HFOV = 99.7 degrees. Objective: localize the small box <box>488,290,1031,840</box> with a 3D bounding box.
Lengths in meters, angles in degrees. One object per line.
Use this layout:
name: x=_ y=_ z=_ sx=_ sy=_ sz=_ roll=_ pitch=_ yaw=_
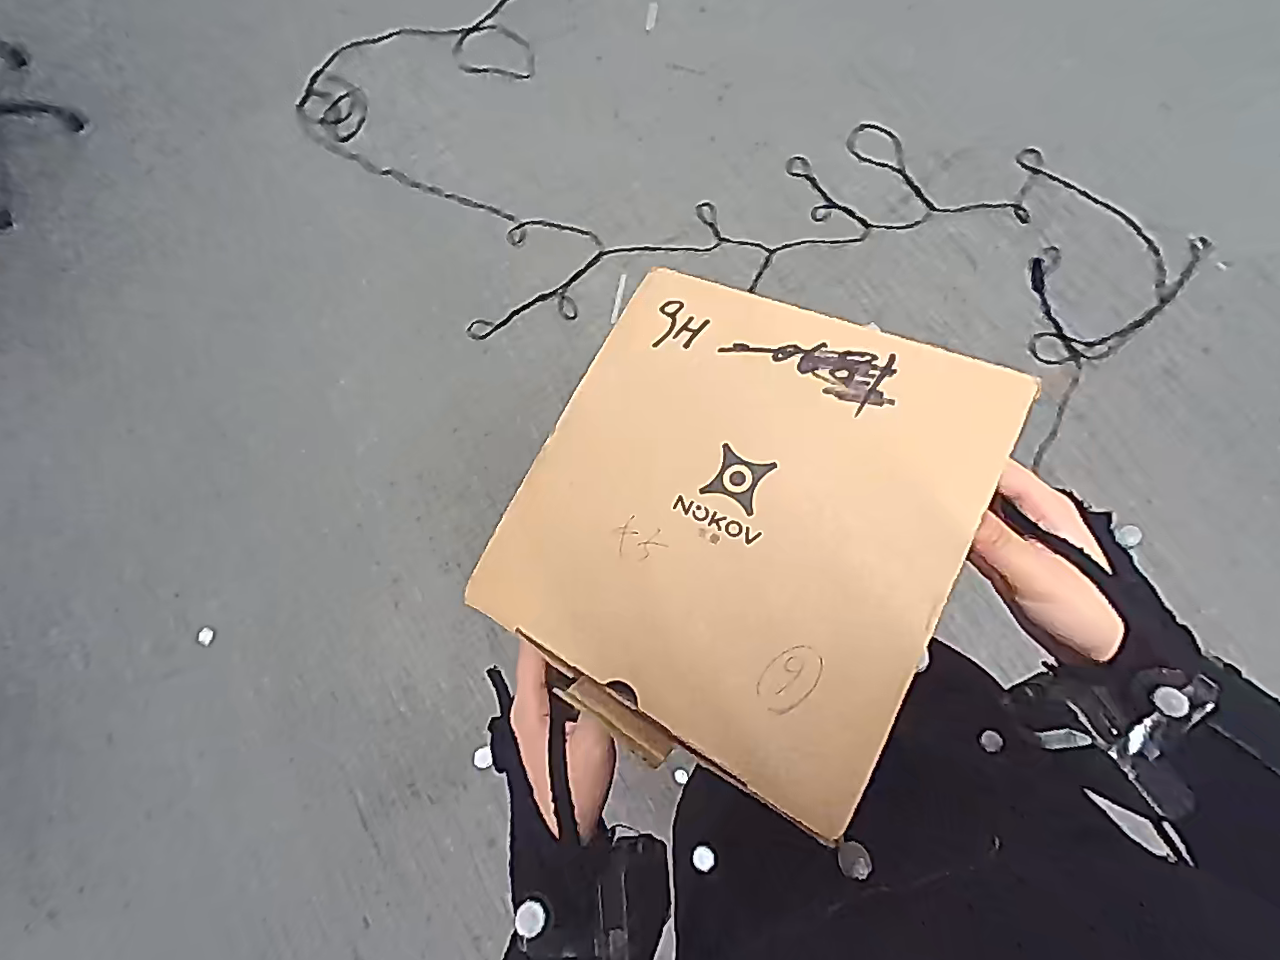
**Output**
small box: x=0.061 y=0.038 z=0.294 sx=0.168 sy=0.176 sz=0.179 roll=26 pitch=82 yaw=22
